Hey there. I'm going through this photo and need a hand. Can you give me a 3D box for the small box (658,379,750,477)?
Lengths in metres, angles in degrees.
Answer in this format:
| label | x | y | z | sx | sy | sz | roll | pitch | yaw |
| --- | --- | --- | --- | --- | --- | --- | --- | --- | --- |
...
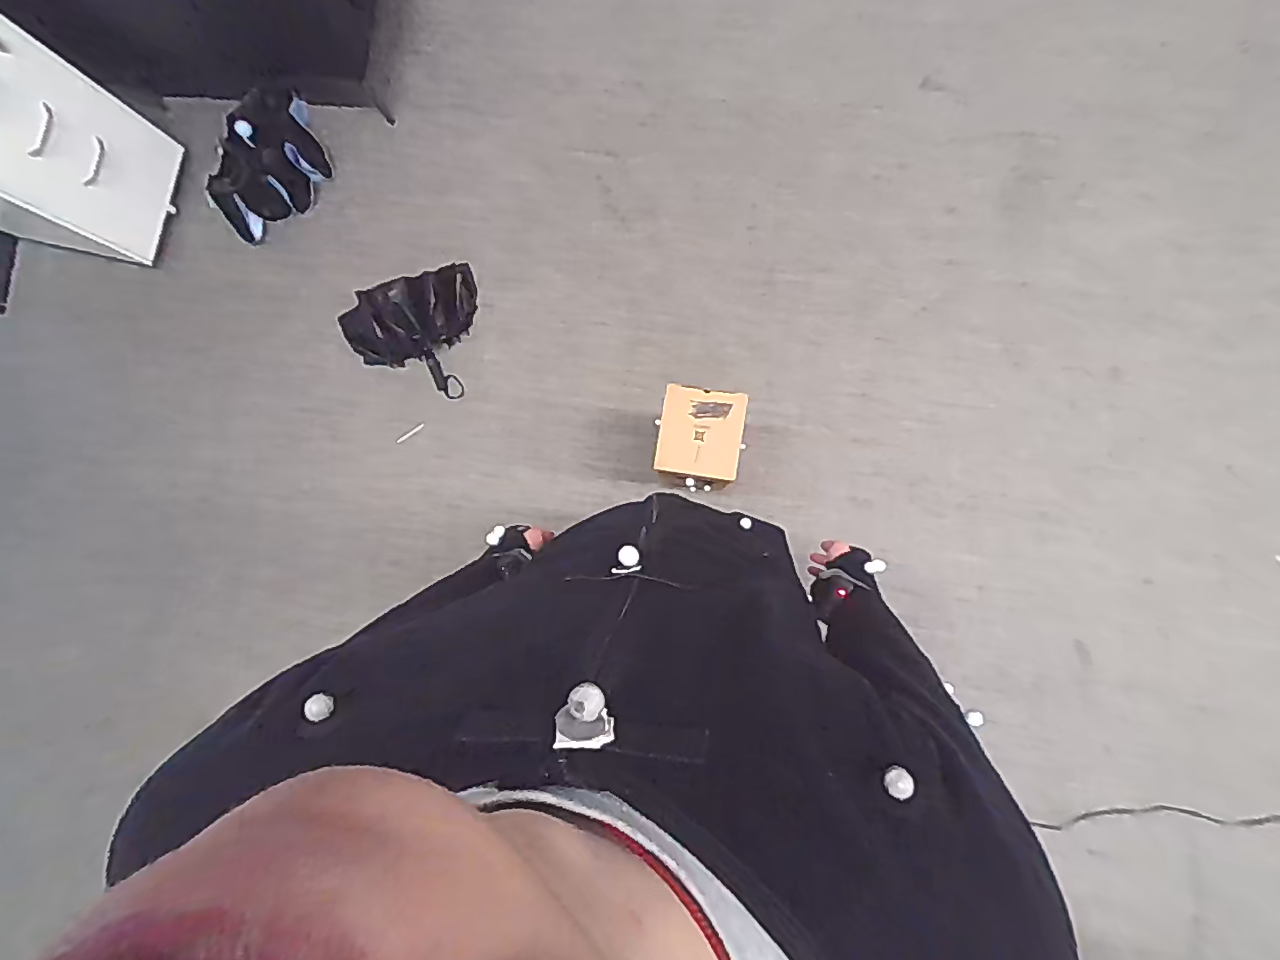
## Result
| label | x | y | z | sx | sy | sz | roll | pitch | yaw |
| --- | --- | --- | --- | --- | --- | --- | --- | --- | --- |
| small box | 0.134 | -0.106 | 1.164 | 0.168 | 0.176 | 0.179 | 9 | 90 | 6 |
